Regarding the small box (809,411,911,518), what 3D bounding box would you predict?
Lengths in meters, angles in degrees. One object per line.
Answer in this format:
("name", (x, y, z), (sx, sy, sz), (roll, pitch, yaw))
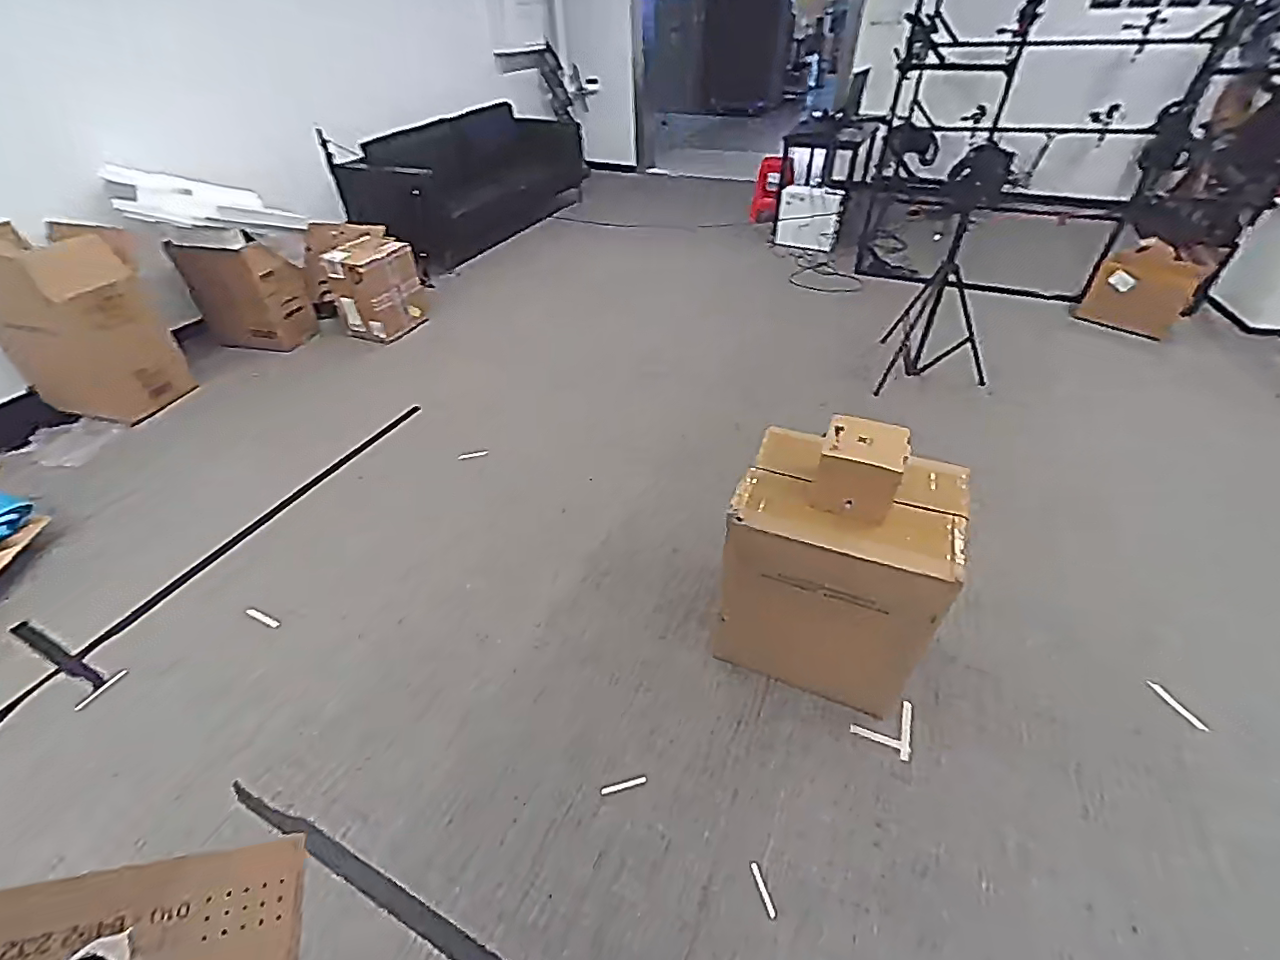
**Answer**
("small box", (0.513, -0.034, 1.273), (0.179, 0.176, 0.168), (15, 46, 19))
